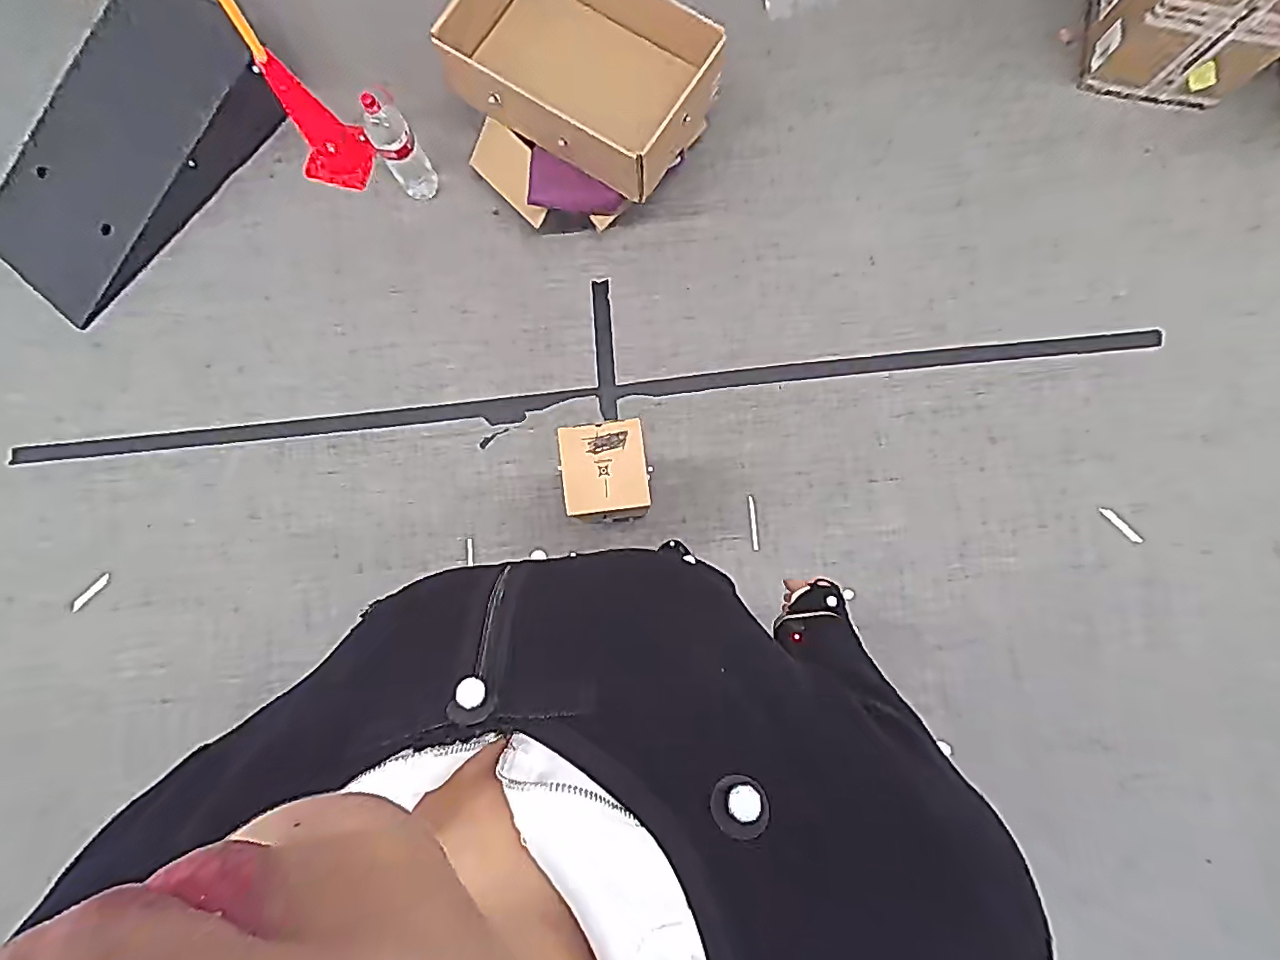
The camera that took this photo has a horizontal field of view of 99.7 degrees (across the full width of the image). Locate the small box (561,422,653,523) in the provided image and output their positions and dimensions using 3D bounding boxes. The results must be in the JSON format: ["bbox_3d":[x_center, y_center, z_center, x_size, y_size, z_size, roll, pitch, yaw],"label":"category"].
[{"bbox_3d":[-0.066,-0.009,1.124,0.168,0.176,0.179,-7,83,0],"label":"small box"}]

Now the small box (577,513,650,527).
[{"bbox_3d":[-0.068,0.012,1.288,0.168,0.176,0.179,-7,82,0],"label":"small box"}]
